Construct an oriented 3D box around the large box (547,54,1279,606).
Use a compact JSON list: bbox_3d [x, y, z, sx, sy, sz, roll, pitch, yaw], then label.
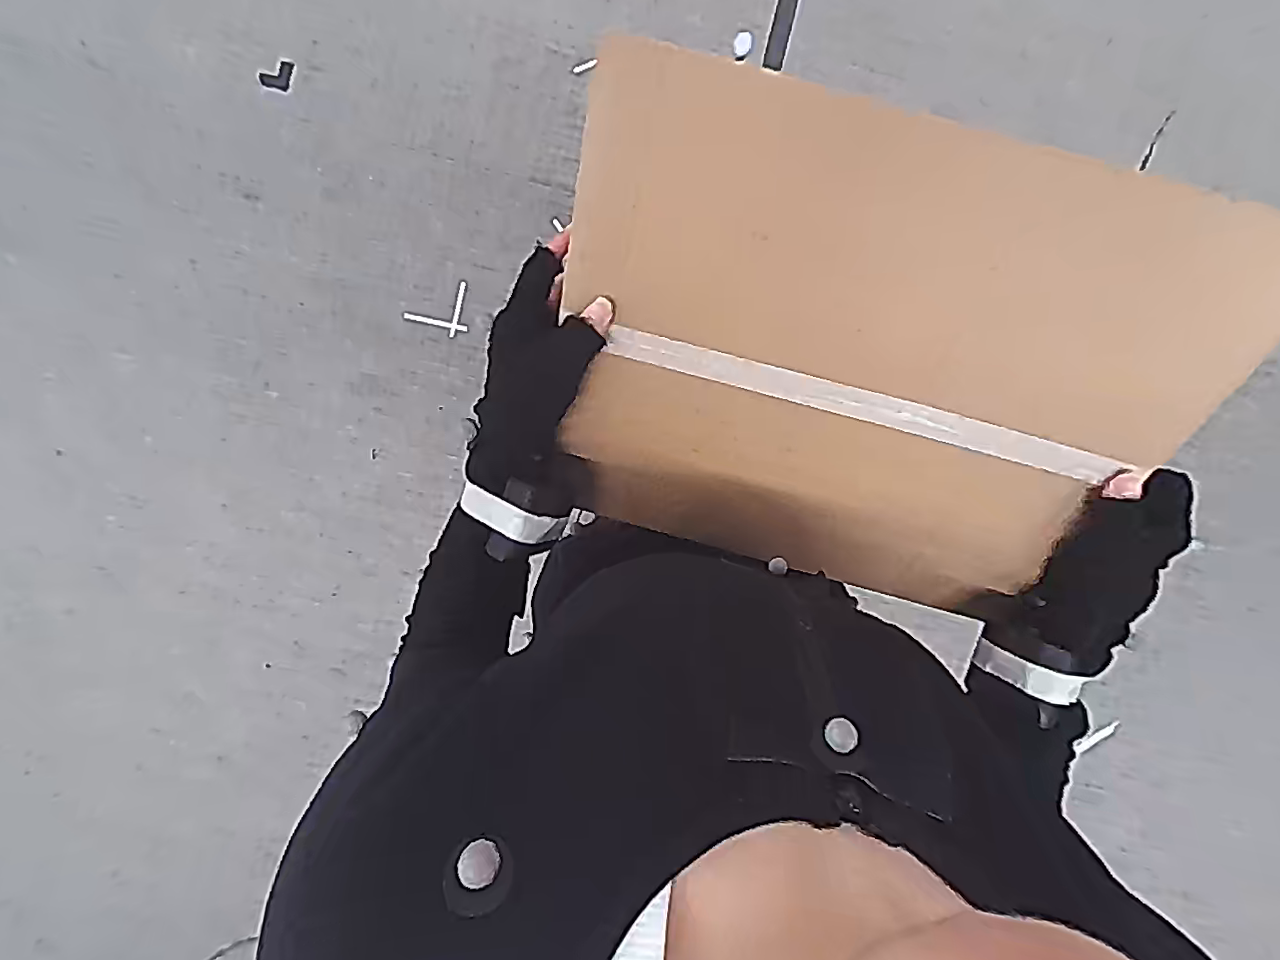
[{"bbox_3d":[0.162,-0.144,0.495,0.408,0.320,0.320,16,127,0],"label":"large box"}]
